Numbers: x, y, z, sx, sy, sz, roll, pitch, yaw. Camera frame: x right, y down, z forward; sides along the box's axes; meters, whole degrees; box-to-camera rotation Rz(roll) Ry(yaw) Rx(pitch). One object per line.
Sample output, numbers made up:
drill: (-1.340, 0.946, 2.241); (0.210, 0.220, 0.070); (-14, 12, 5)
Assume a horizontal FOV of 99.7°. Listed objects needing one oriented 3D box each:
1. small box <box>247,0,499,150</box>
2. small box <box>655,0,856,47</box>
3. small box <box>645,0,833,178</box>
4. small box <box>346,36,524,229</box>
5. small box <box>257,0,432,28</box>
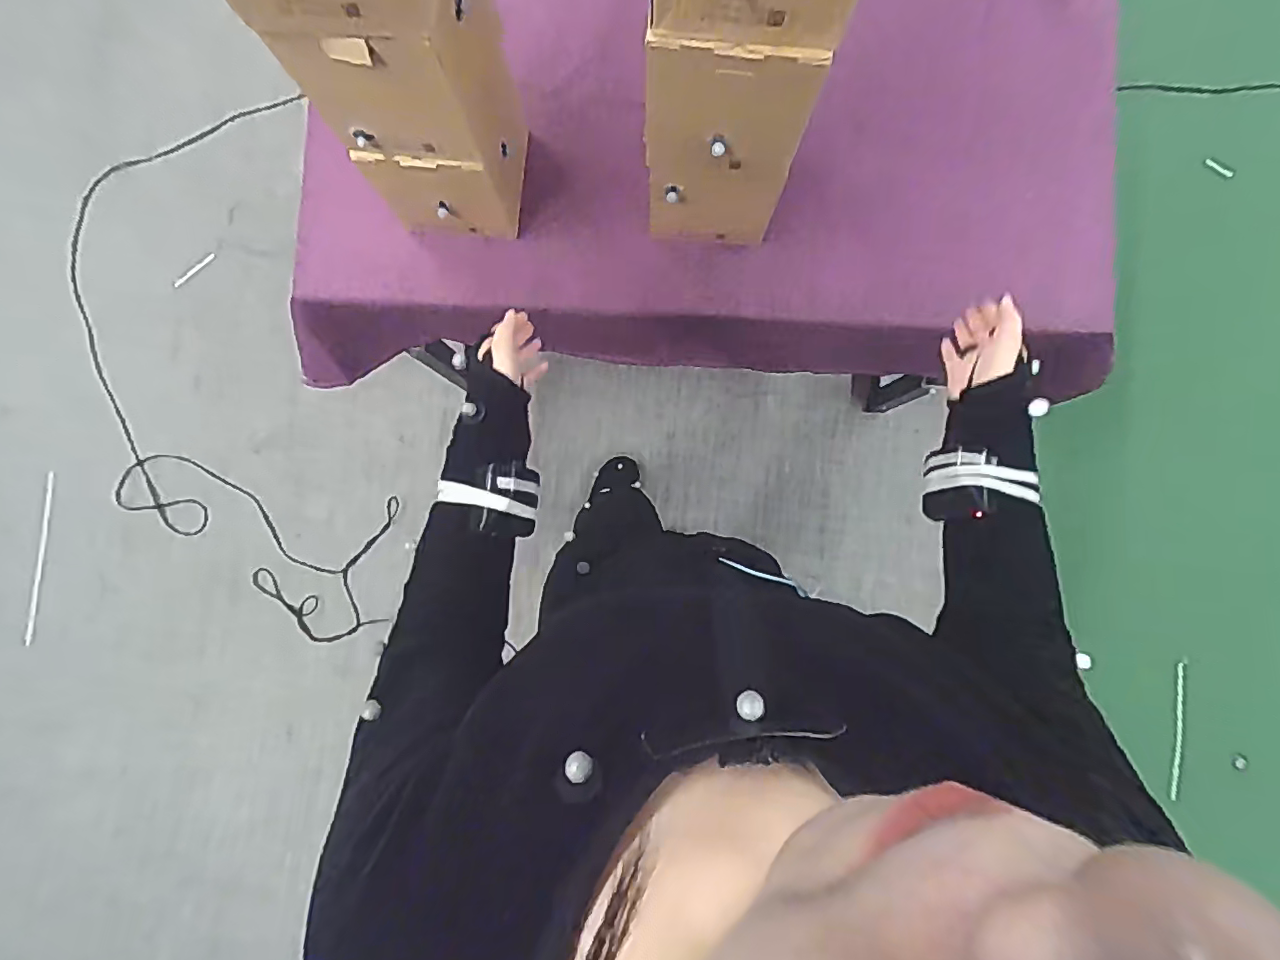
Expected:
small box: (-0.253, -0.477, 0.555); (0.168, 0.176, 0.179); (6, 86, 0)
small box: (0.100, -0.472, 0.393); (0.168, 0.176, 0.179); (5, 87, 0)
small box: (0.096, -0.452, 0.555); (0.168, 0.176, 0.179); (8, 87, 1)
small box: (-0.258, -0.461, 0.719); (0.168, 0.176, 0.179); (6, 88, -1)
small box: (-0.252, -0.481, 0.392); (0.168, 0.176, 0.179); (4, 87, -1)
